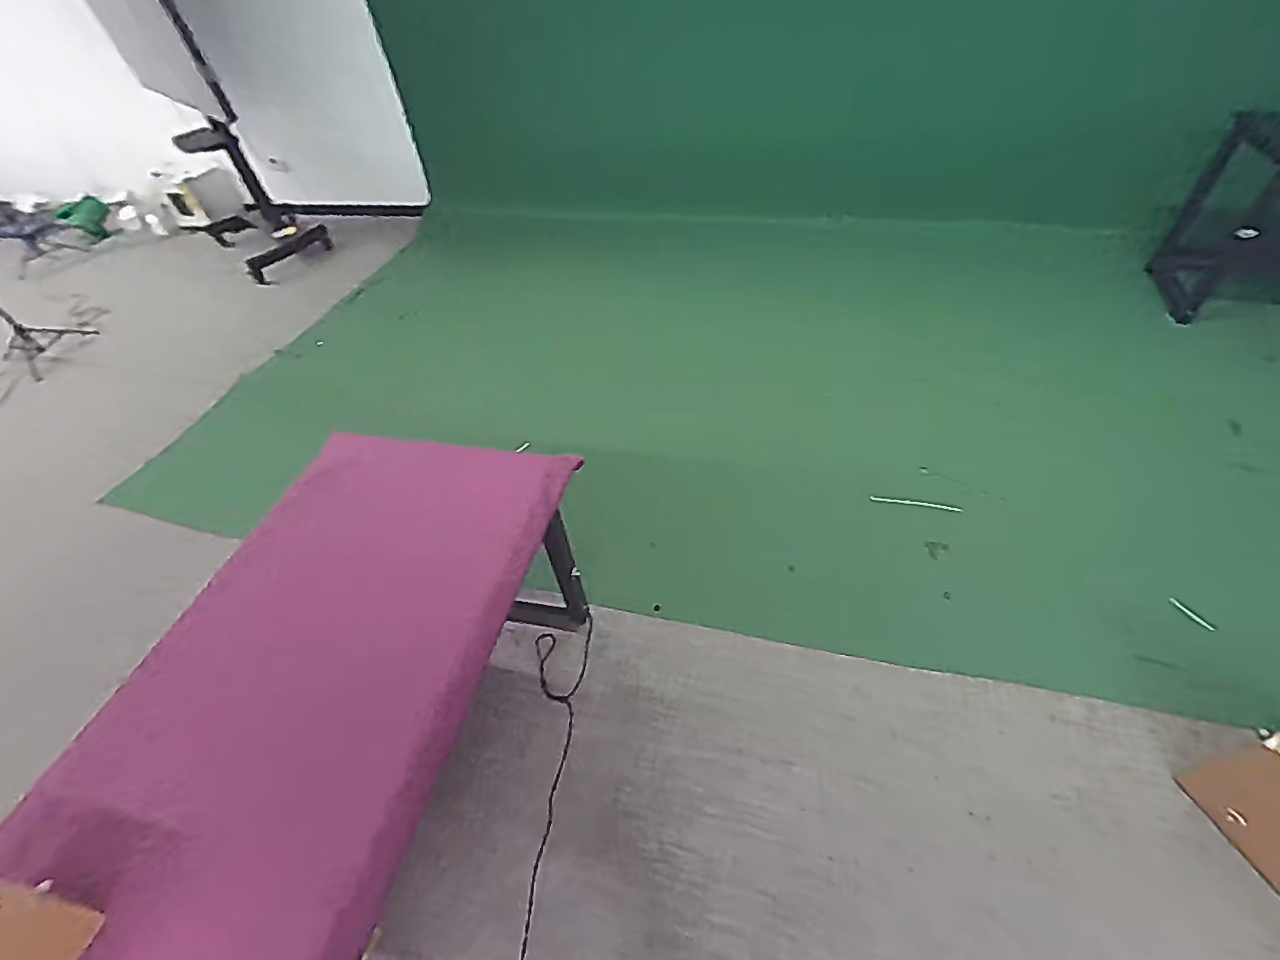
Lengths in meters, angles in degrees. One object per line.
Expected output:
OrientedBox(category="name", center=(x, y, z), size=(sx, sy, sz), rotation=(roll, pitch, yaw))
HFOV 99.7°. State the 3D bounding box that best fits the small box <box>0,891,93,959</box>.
OrientedBox(category="small box", center=(-0.838, 0.609, 0.640), size=(0.168, 0.176, 0.179), rotation=(7, 48, 12))
